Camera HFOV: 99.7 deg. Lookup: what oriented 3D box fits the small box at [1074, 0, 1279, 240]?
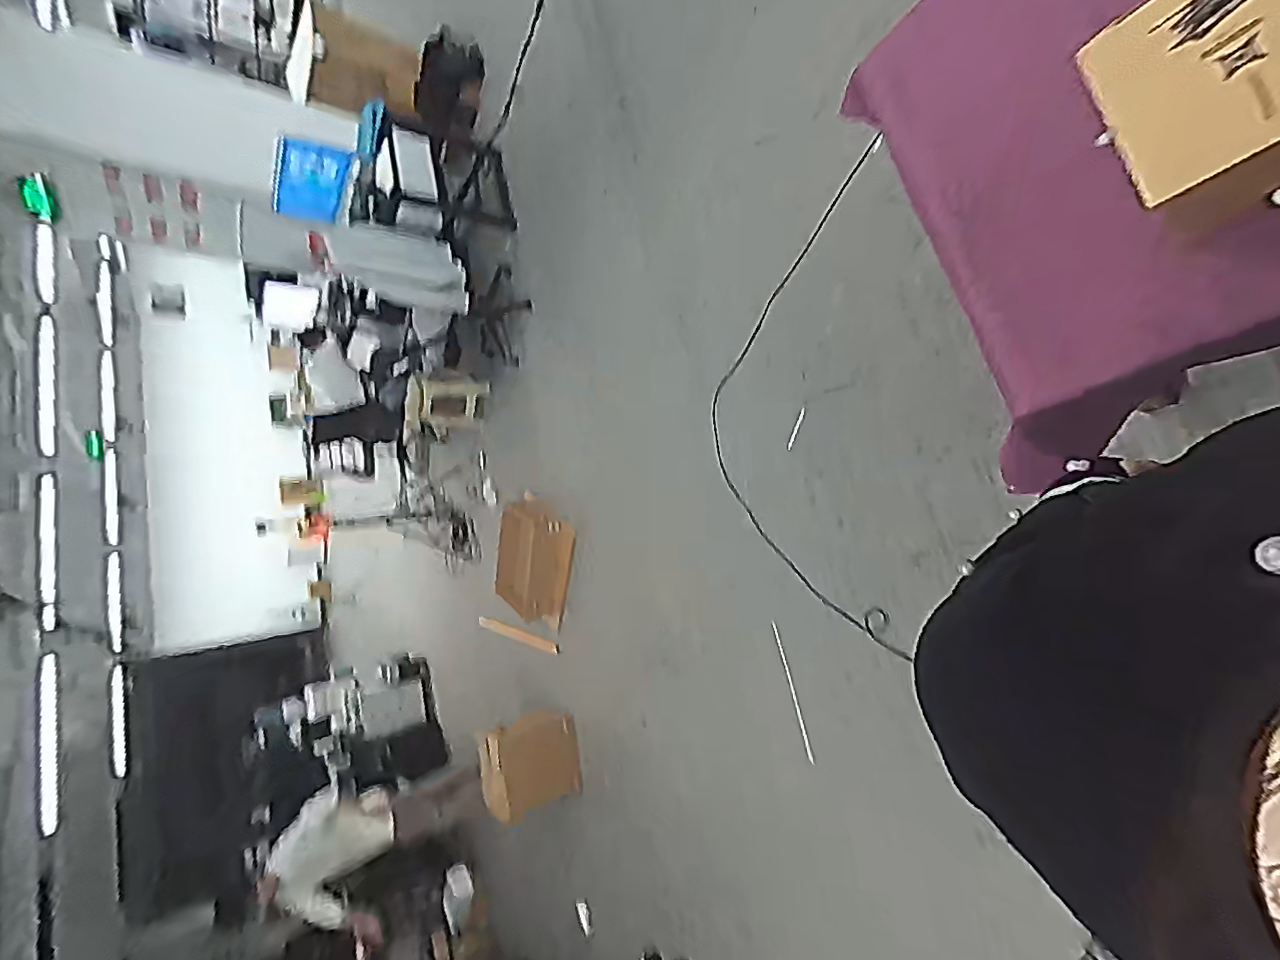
[{"bbox_3d":[0.541,-0.352,0.491,0.168,0.176,0.179,-27,73,49],"label":"small box"}]
